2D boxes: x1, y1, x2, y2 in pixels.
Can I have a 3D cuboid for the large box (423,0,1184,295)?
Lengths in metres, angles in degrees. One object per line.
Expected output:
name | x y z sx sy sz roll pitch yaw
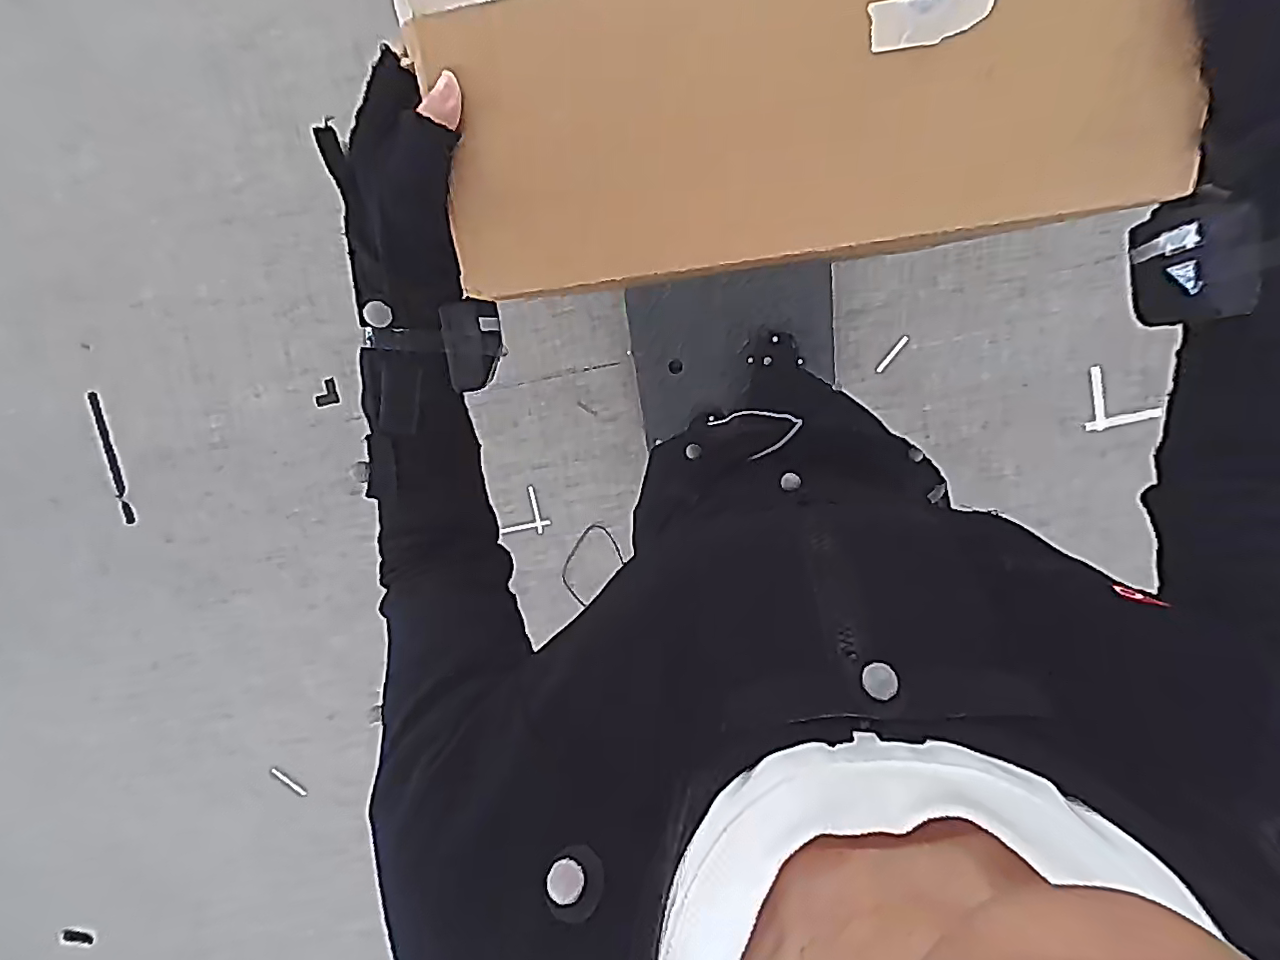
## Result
large box | 0.083 -0.335 0.421 0.408 0.320 0.320 -6 109 7

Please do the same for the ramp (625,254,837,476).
ramp | 0.201 -0.504 1.281 0.509 0.206 0.991 -9 99 6
